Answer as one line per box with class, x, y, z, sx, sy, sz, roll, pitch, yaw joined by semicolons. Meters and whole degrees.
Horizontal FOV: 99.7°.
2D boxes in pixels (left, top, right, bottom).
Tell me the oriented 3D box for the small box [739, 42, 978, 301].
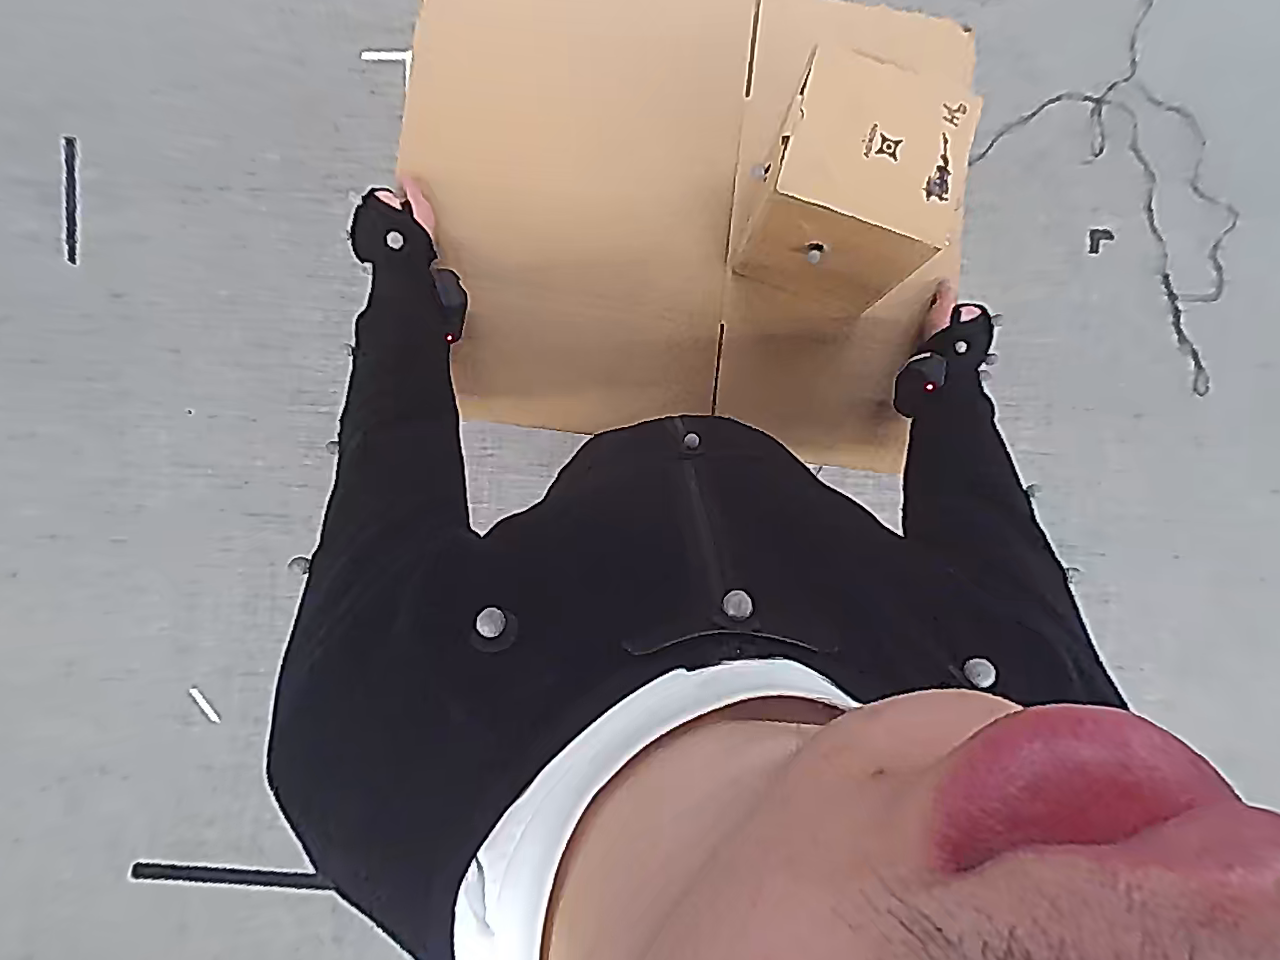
small box;0.226;-0.325;0.607;0.179;0.176;0.168;17;85;-1
